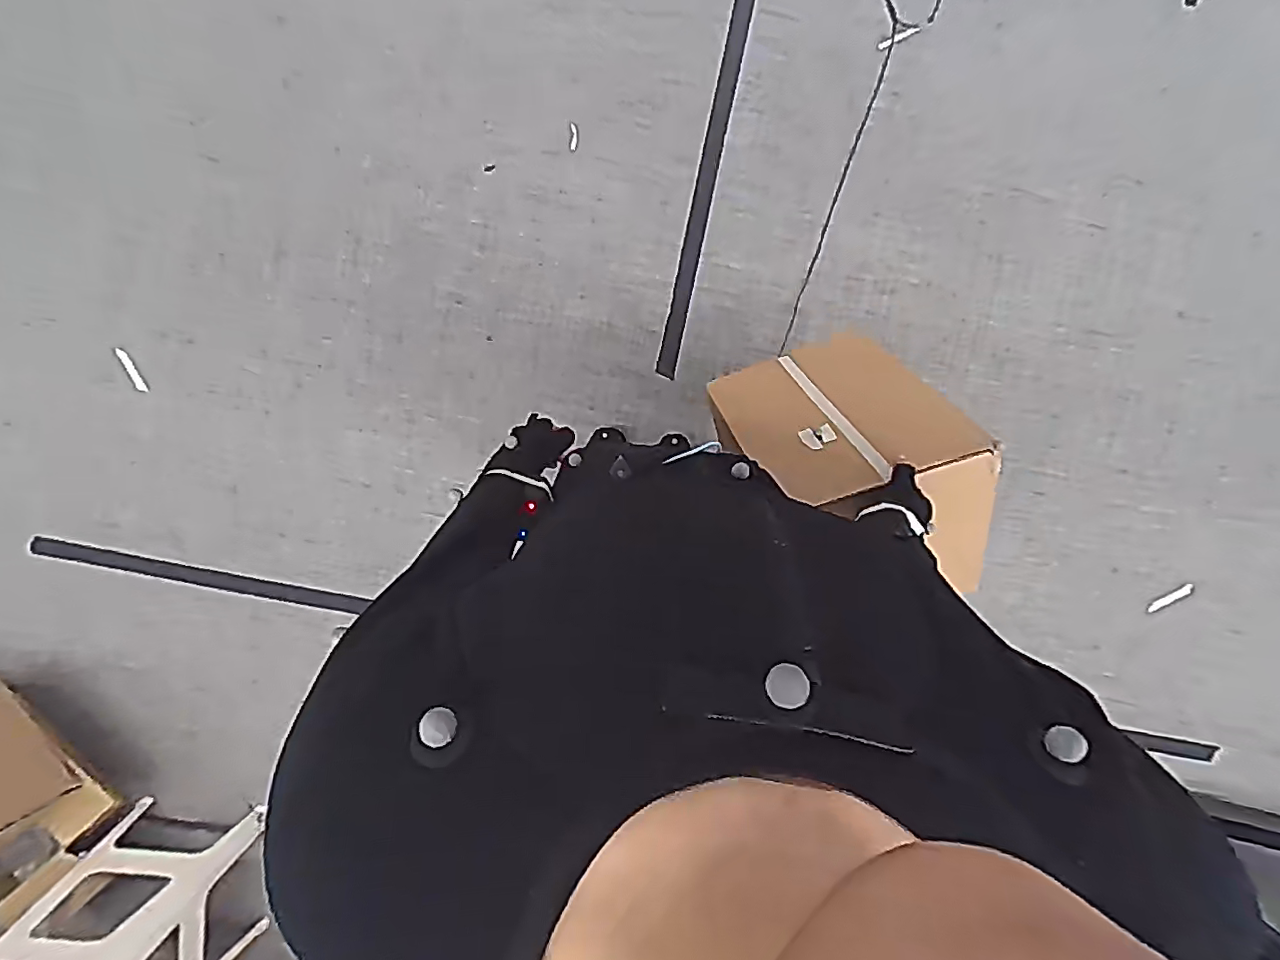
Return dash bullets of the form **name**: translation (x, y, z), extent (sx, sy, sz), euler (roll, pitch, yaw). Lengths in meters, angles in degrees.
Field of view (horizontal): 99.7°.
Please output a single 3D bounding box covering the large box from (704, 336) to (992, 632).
- **large box**: translation (0.342, -0.005, 0.991), extent (0.320, 0.408, 0.320), euler (-19, 129, 2)
